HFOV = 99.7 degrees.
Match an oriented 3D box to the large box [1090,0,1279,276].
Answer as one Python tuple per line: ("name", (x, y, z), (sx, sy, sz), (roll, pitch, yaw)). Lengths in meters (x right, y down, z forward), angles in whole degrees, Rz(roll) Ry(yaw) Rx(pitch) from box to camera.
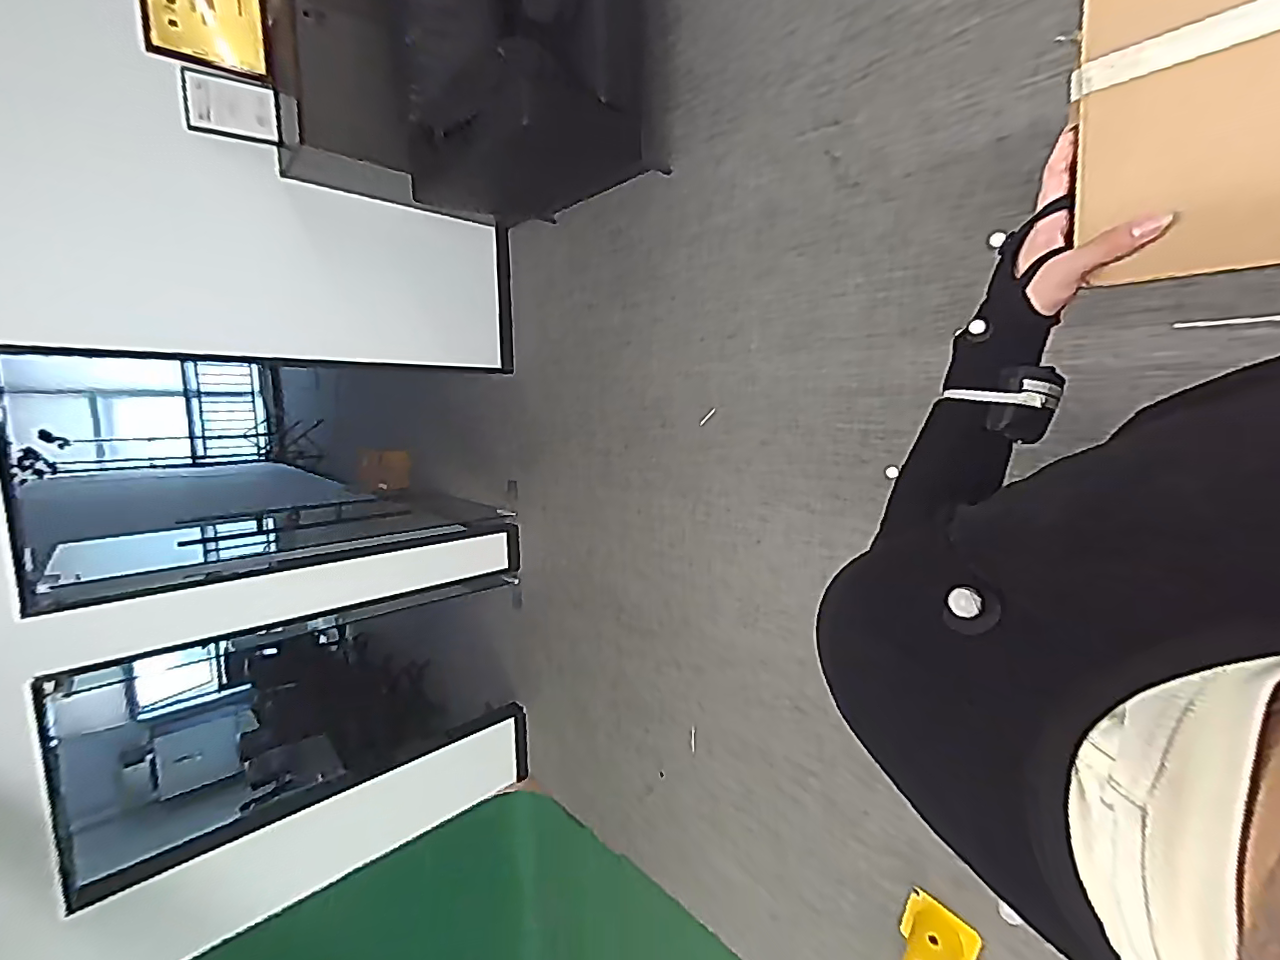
("large box", (0.593, -0.347, 0.369), (0.408, 0.320, 0.320), (7, 113, 47))
